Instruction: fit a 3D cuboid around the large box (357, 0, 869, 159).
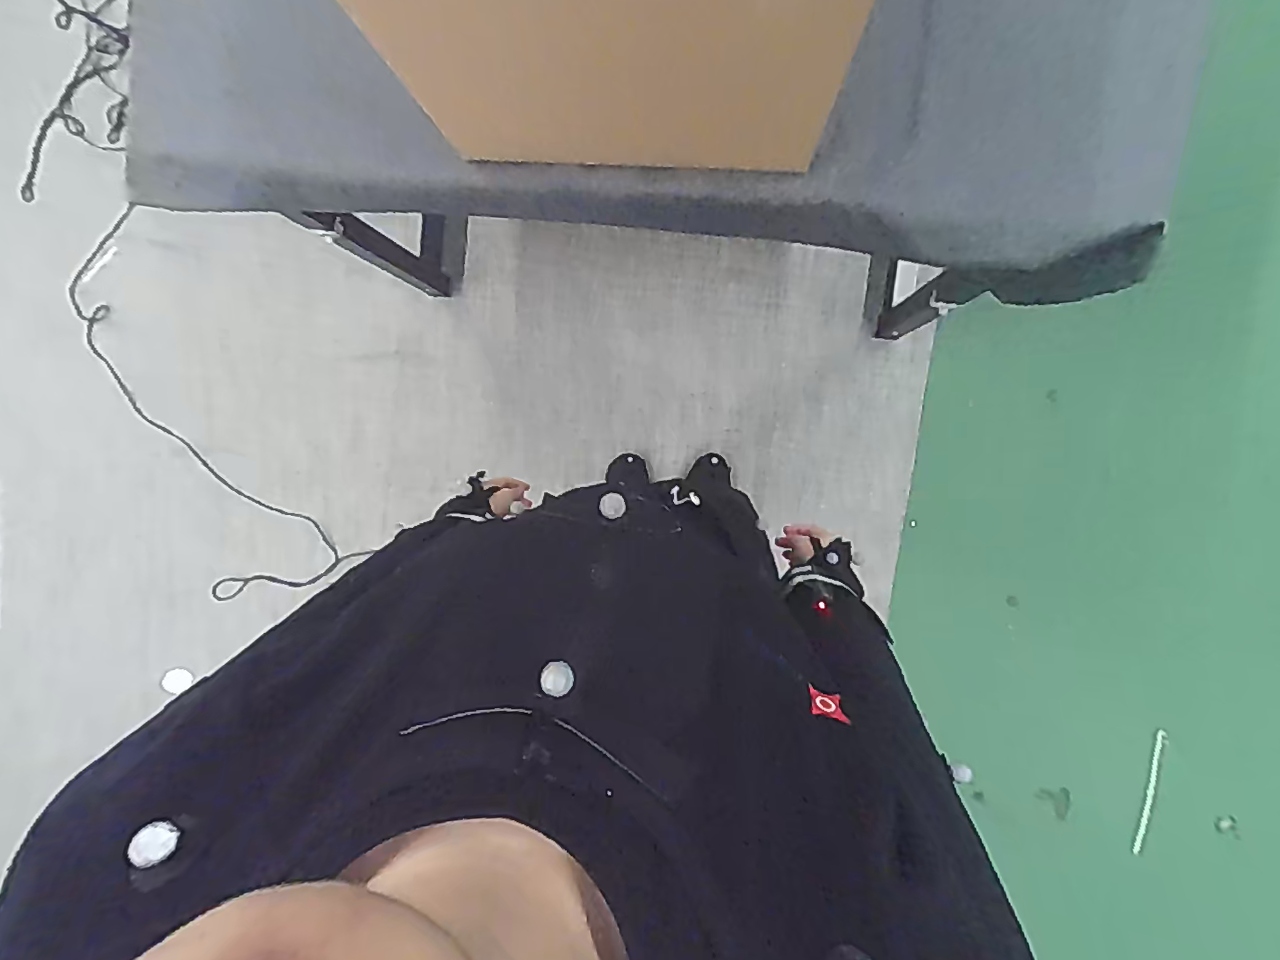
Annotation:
[{"bbox_3d":[-0.014,-0.512,0.464,0.408,0.320,0.320,4,93,5],"label":"large box"}]
